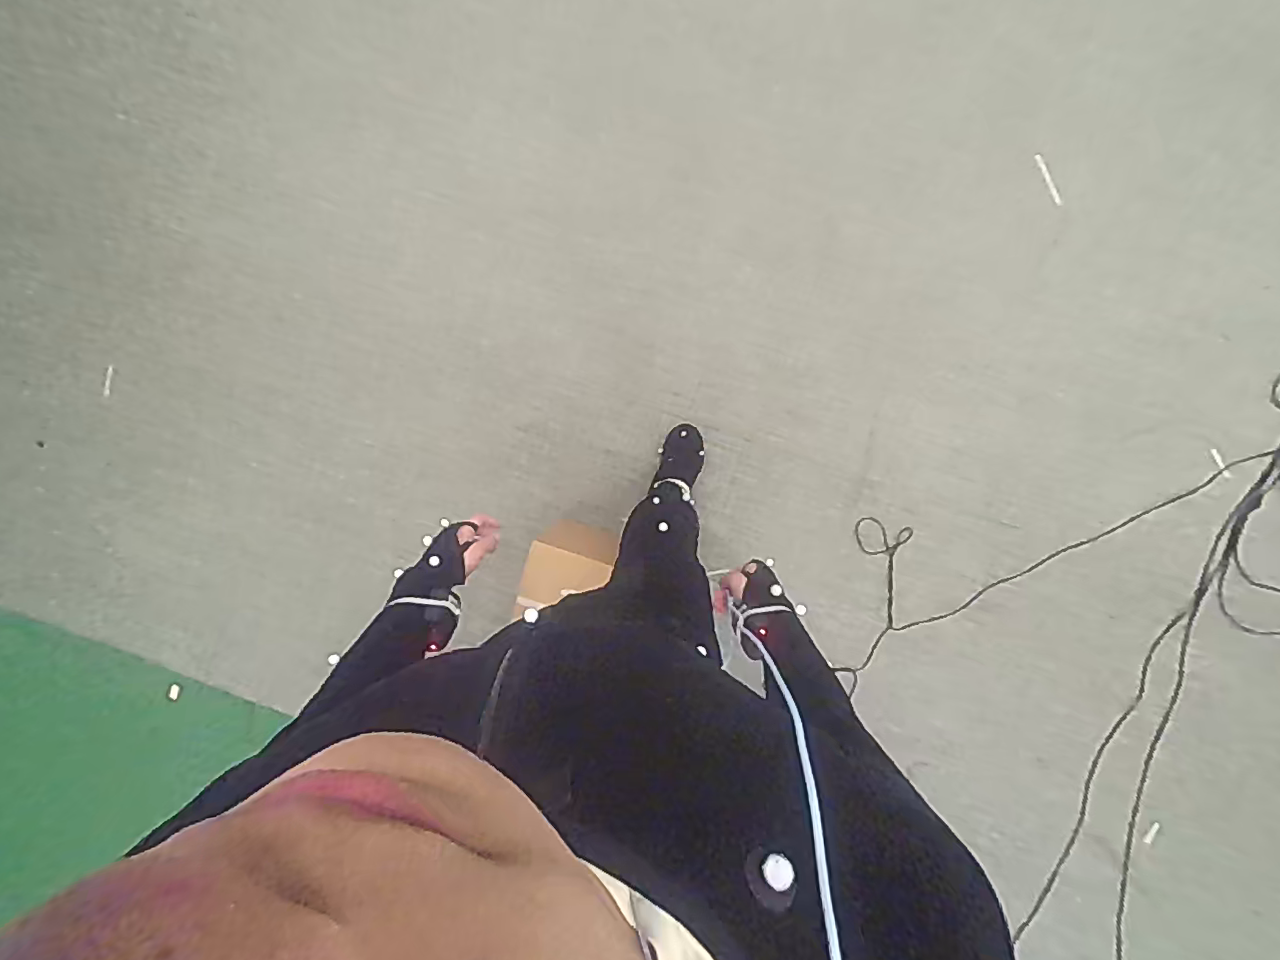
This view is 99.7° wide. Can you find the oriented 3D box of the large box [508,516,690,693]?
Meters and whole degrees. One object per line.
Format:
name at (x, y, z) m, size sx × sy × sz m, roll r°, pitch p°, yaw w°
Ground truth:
large box at (-0.094, 0.323, 1.500) m, size 0.408 × 0.320 × 0.320 m, roll 17°, pitch 98°, yaw 4°
